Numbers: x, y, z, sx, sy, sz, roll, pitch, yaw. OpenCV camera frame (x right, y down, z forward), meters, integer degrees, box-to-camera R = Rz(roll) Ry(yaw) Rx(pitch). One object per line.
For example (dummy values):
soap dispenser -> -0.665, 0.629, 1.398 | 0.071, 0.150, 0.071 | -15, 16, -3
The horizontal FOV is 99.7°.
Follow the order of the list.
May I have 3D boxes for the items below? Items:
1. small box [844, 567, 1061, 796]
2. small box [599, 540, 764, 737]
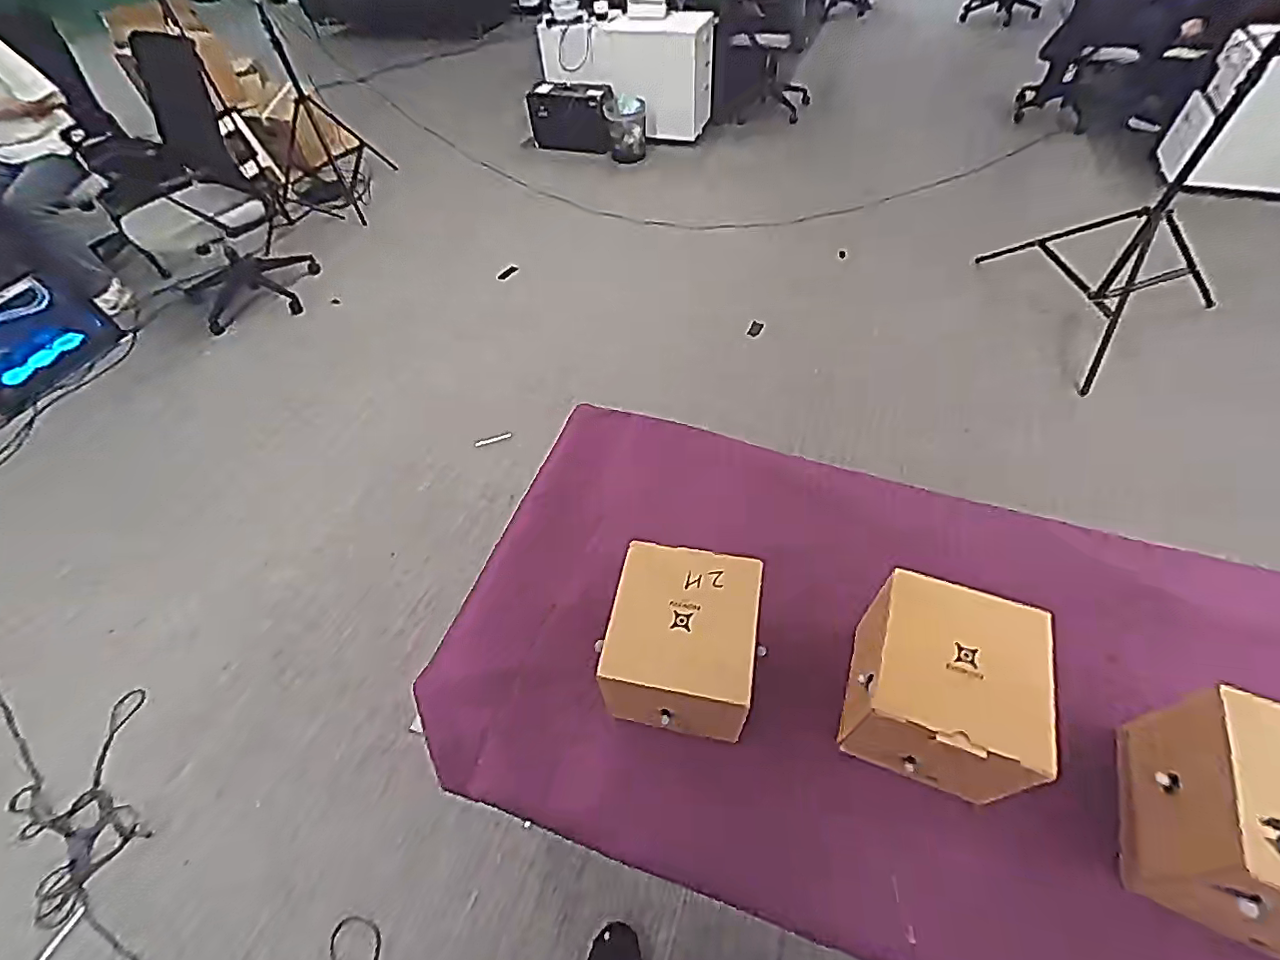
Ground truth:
small box -> 0.351, 0.236, 0.632 | 0.168, 0.176, 0.179 | 16, 55, 16
small box -> 0.058, 0.202, 0.678 | 0.168, 0.176, 0.179 | 8, 53, 10
